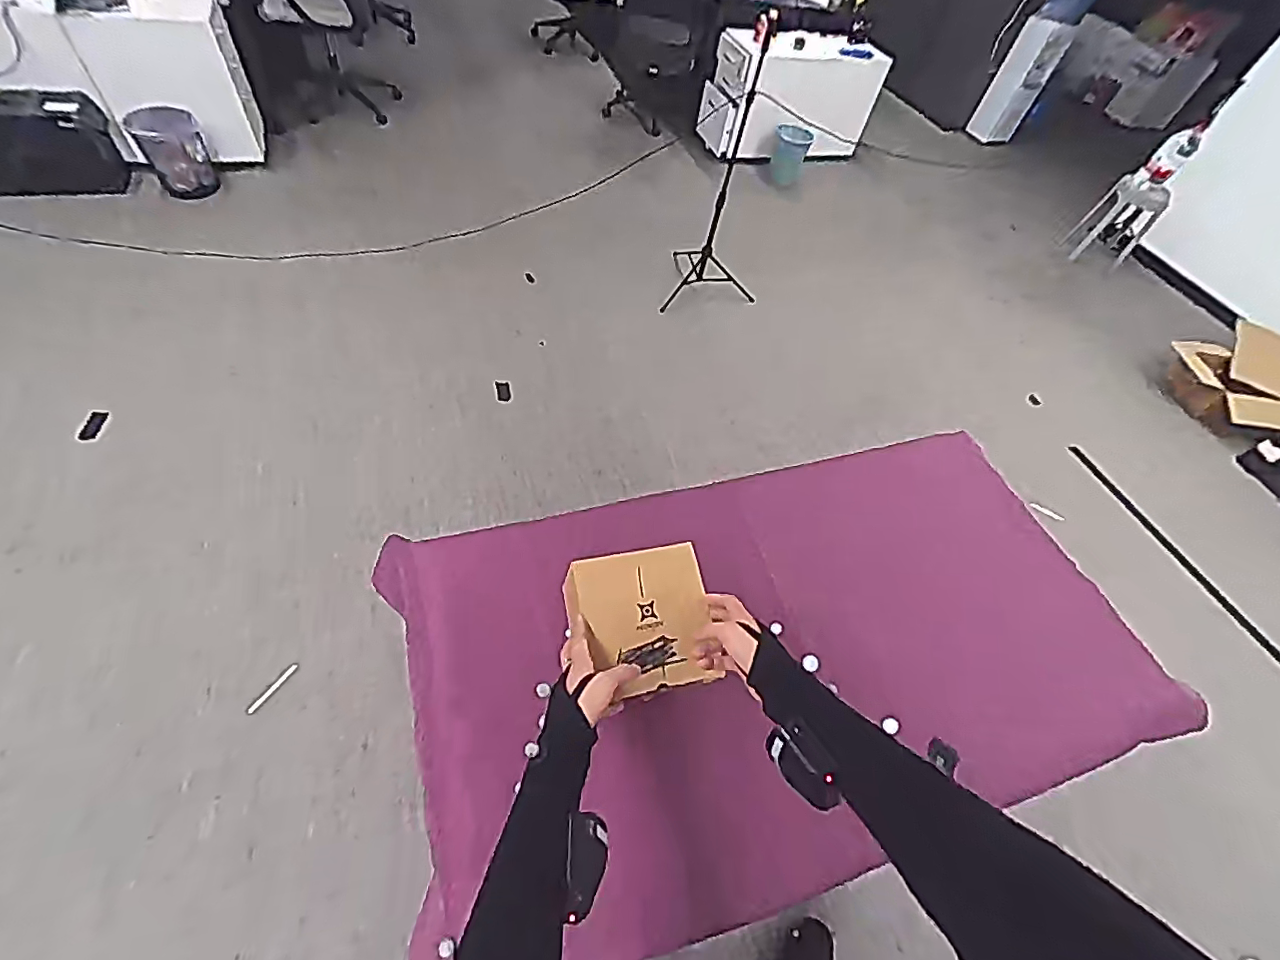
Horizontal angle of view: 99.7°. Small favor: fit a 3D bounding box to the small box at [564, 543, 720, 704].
[{"bbox_3d":[-0.008,0.204,0.753,0.168,0.176,0.179,-8,68,-15],"label":"small box"}]
